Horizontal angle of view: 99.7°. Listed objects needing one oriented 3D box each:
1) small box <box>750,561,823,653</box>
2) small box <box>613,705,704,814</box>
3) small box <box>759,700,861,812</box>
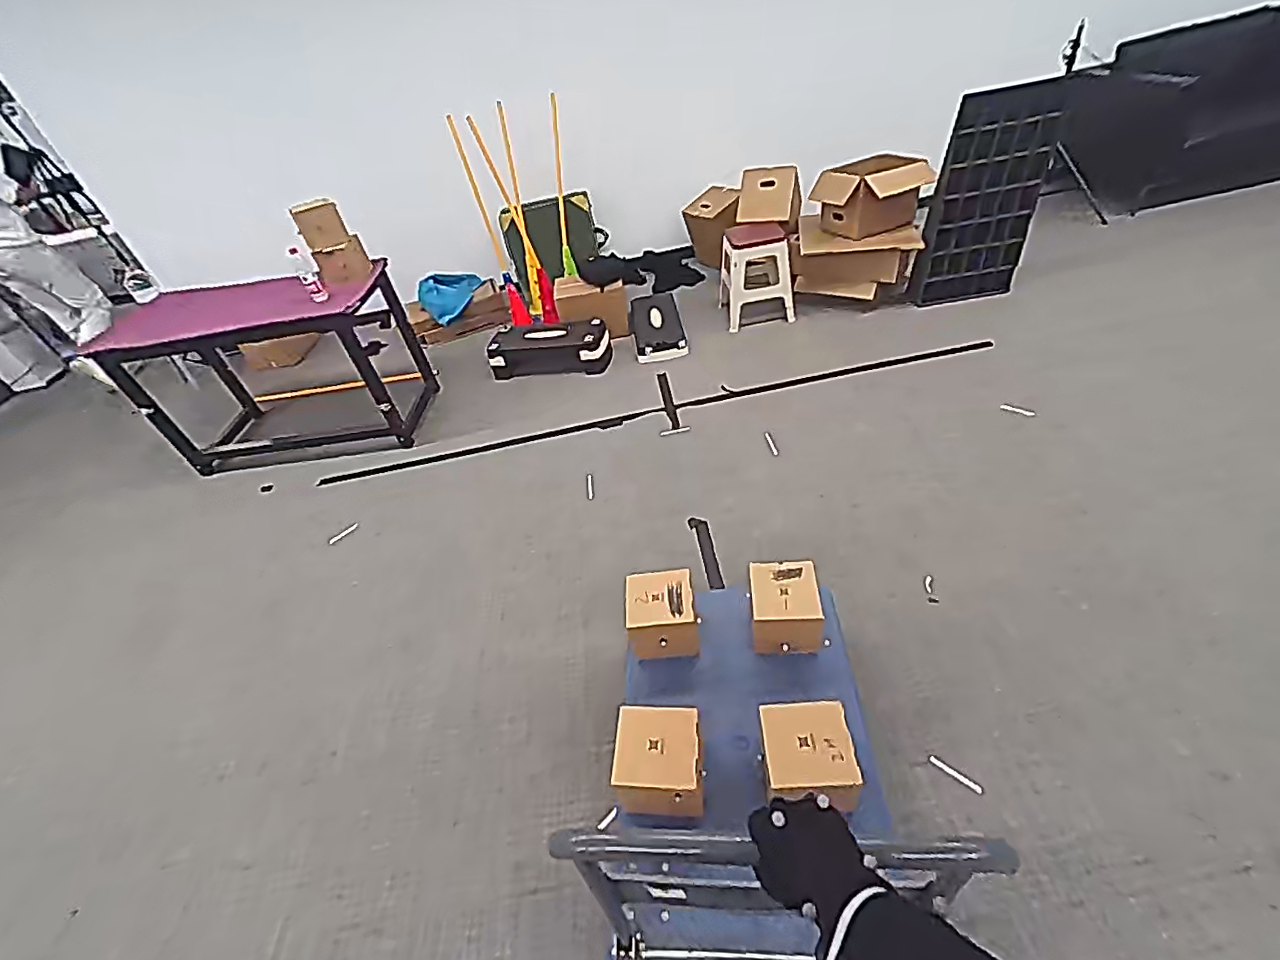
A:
[{"bbox_3d":[0.378,0.333,1.421,0.168,0.176,0.179,-4,44,9],"label":"small box"},{"bbox_3d":[0.047,0.615,1.189,0.179,0.176,0.168,-2,42,8],"label":"small box"},{"bbox_3d":[0.353,0.589,1.149,0.179,0.176,0.168,-6,43,6],"label":"small box"}]
